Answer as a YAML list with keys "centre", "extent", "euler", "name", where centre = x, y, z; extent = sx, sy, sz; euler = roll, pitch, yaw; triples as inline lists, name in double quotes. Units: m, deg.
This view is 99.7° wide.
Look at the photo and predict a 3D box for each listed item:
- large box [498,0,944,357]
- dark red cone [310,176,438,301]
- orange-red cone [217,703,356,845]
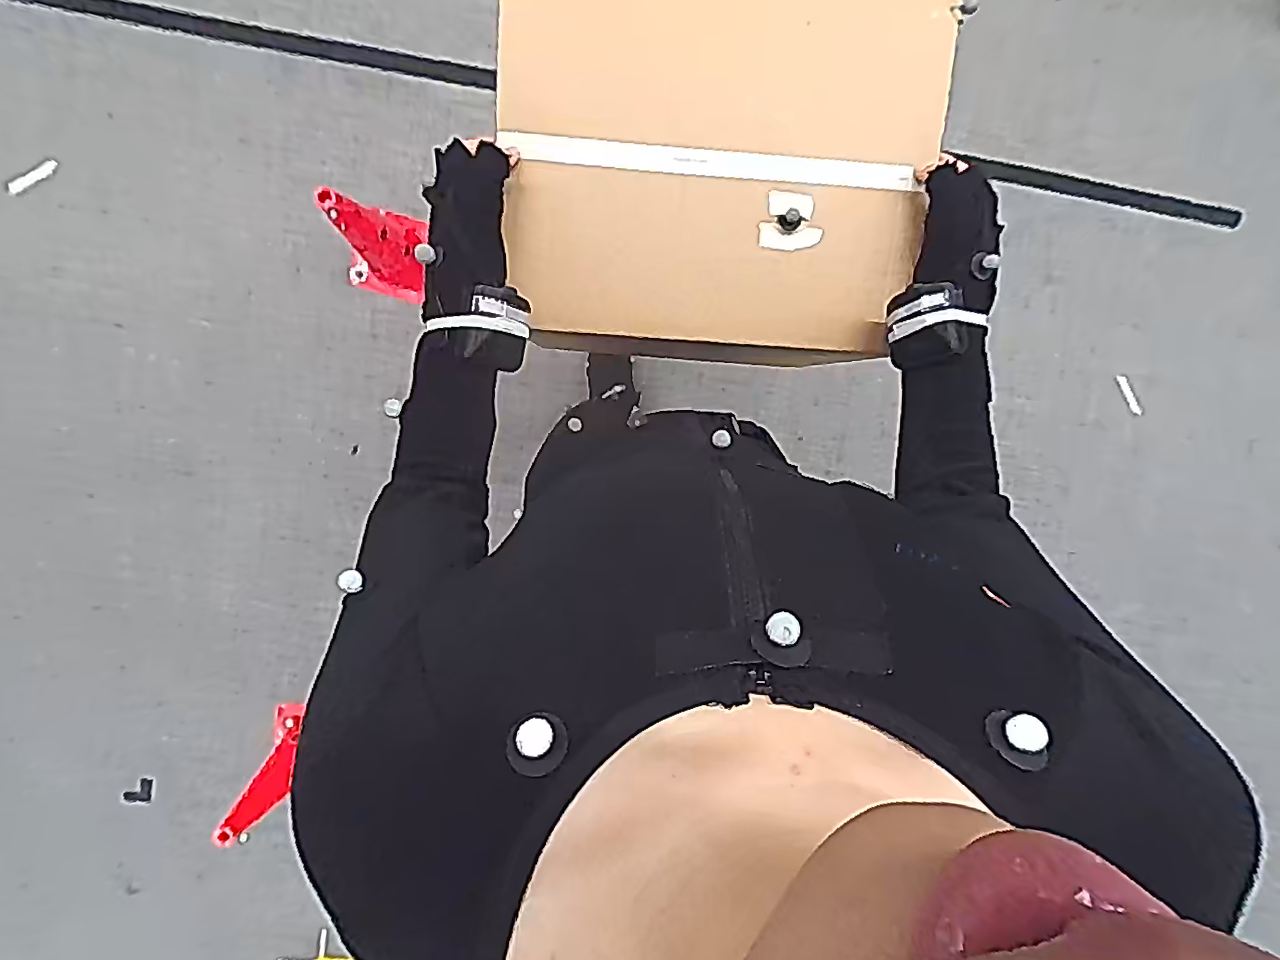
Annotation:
- centre: [0.061, -0.322, 0.643]
  extent: [0.408, 0.320, 0.320]
  euler: [3, 100, -4]
  name: "large box"
- centre: [-0.597, -0.544, 1.168]
  extent: [0.201, 0.394, 0.202]
  euler: [14, 94, -6]
  name: "dark red cone"
- centre: [-0.862, 0.723, 1.291]
  extent: [0.198, 0.360, 0.199]
  euler: [6, 96, -3]
  name: "orange-red cone"
